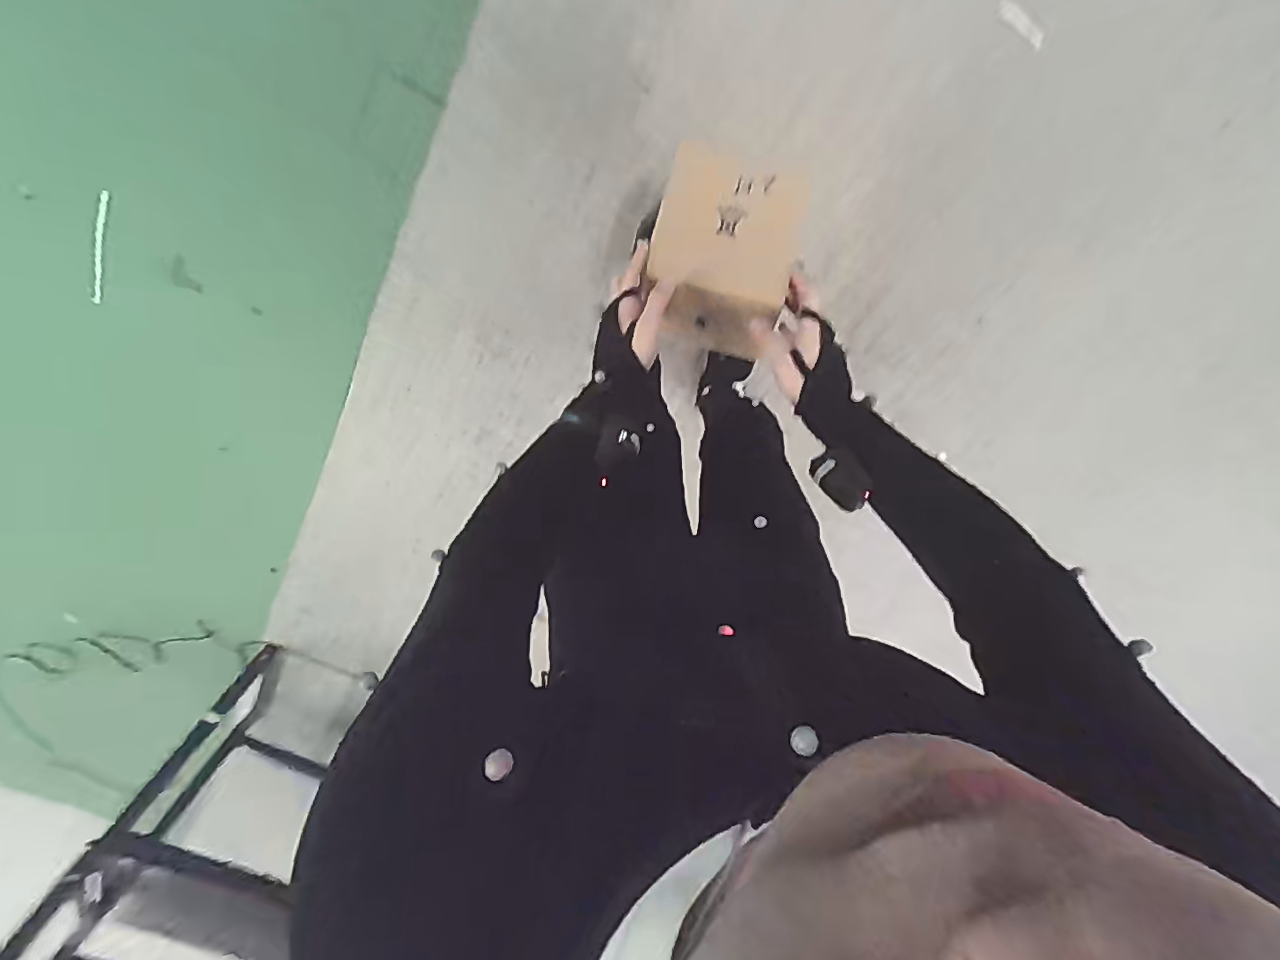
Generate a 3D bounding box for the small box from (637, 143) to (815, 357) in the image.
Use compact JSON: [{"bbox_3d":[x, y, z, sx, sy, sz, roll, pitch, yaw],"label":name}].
[{"bbox_3d":[0.105,-0.278,0.690,0.168,0.176,0.179,16,83,6],"label":"small box"}]
